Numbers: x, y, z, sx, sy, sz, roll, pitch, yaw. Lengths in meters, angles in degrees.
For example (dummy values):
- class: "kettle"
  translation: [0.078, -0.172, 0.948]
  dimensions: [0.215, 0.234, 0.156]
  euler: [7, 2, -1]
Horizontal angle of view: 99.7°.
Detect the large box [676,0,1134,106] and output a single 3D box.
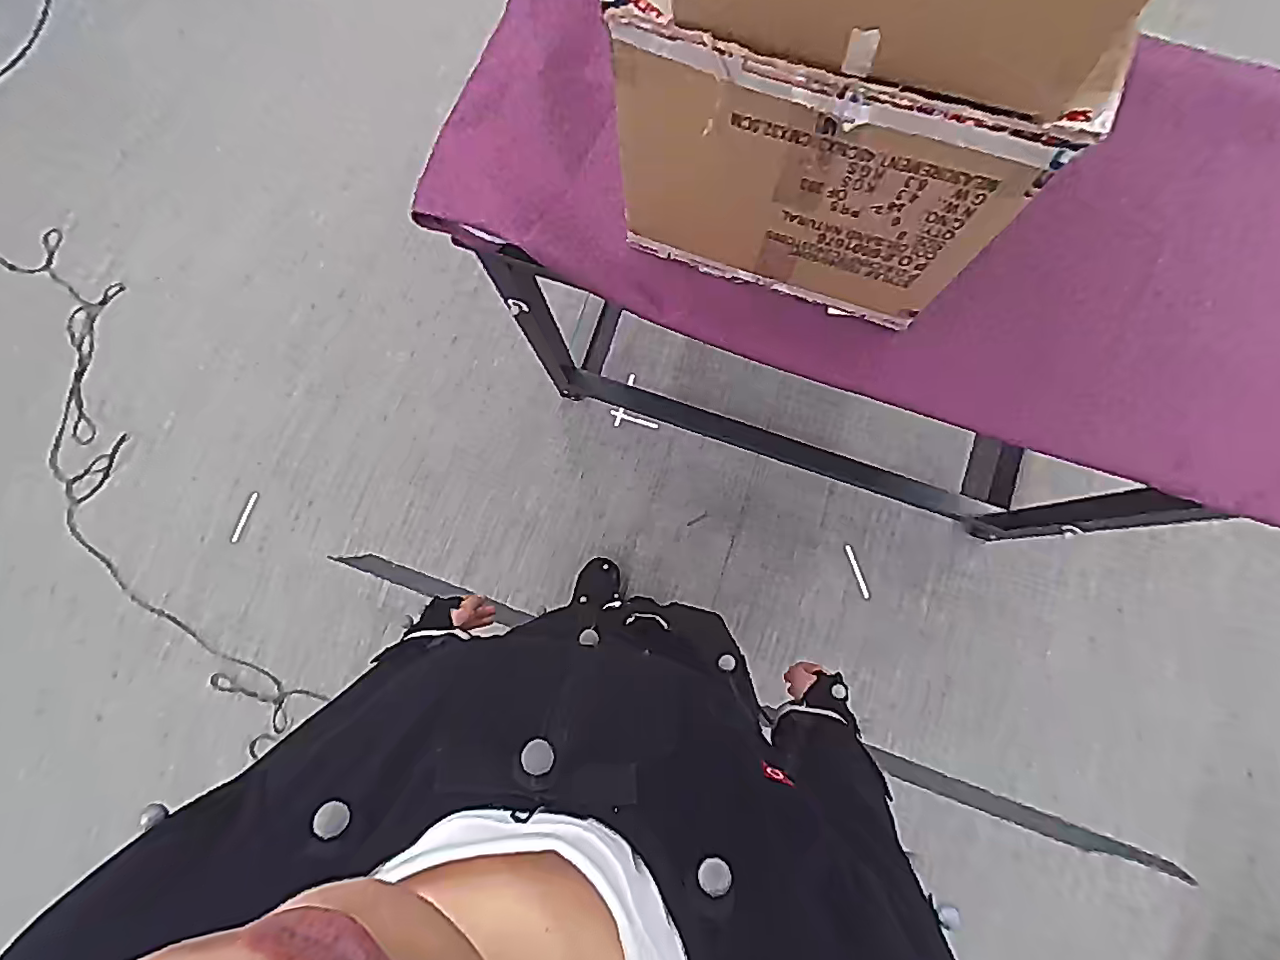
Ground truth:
- class: "large box"
  translation: [0.224, -0.535, 0.307]
  dimensions: [0.320, 0.320, 0.408]
  euler: [20, 82, 10]
